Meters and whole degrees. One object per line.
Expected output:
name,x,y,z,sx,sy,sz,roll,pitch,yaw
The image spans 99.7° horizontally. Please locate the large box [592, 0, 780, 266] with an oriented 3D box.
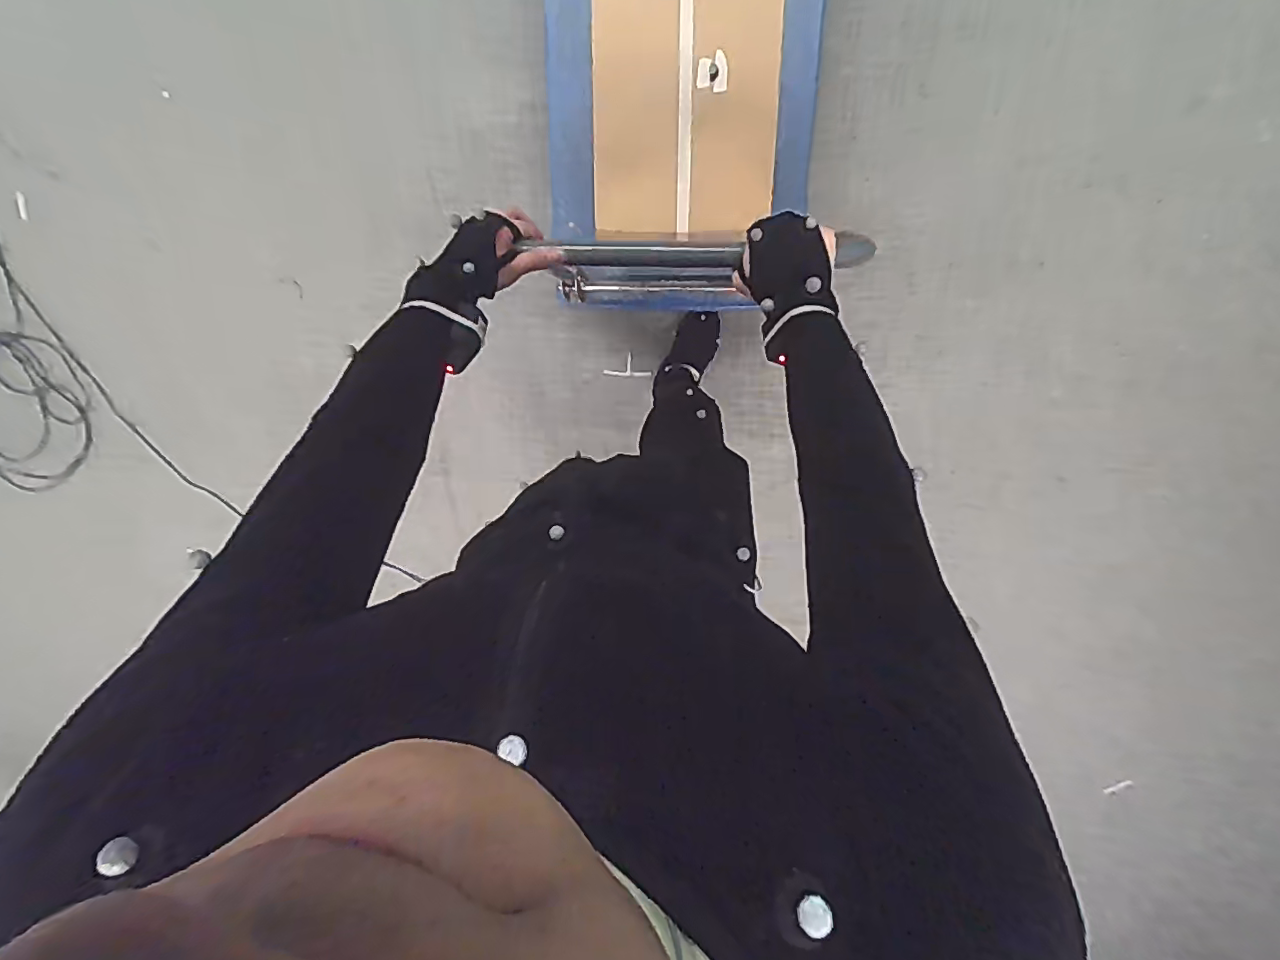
large box,0.091,-0.657,1.074,0.320,0.320,0.408,2,106,5
